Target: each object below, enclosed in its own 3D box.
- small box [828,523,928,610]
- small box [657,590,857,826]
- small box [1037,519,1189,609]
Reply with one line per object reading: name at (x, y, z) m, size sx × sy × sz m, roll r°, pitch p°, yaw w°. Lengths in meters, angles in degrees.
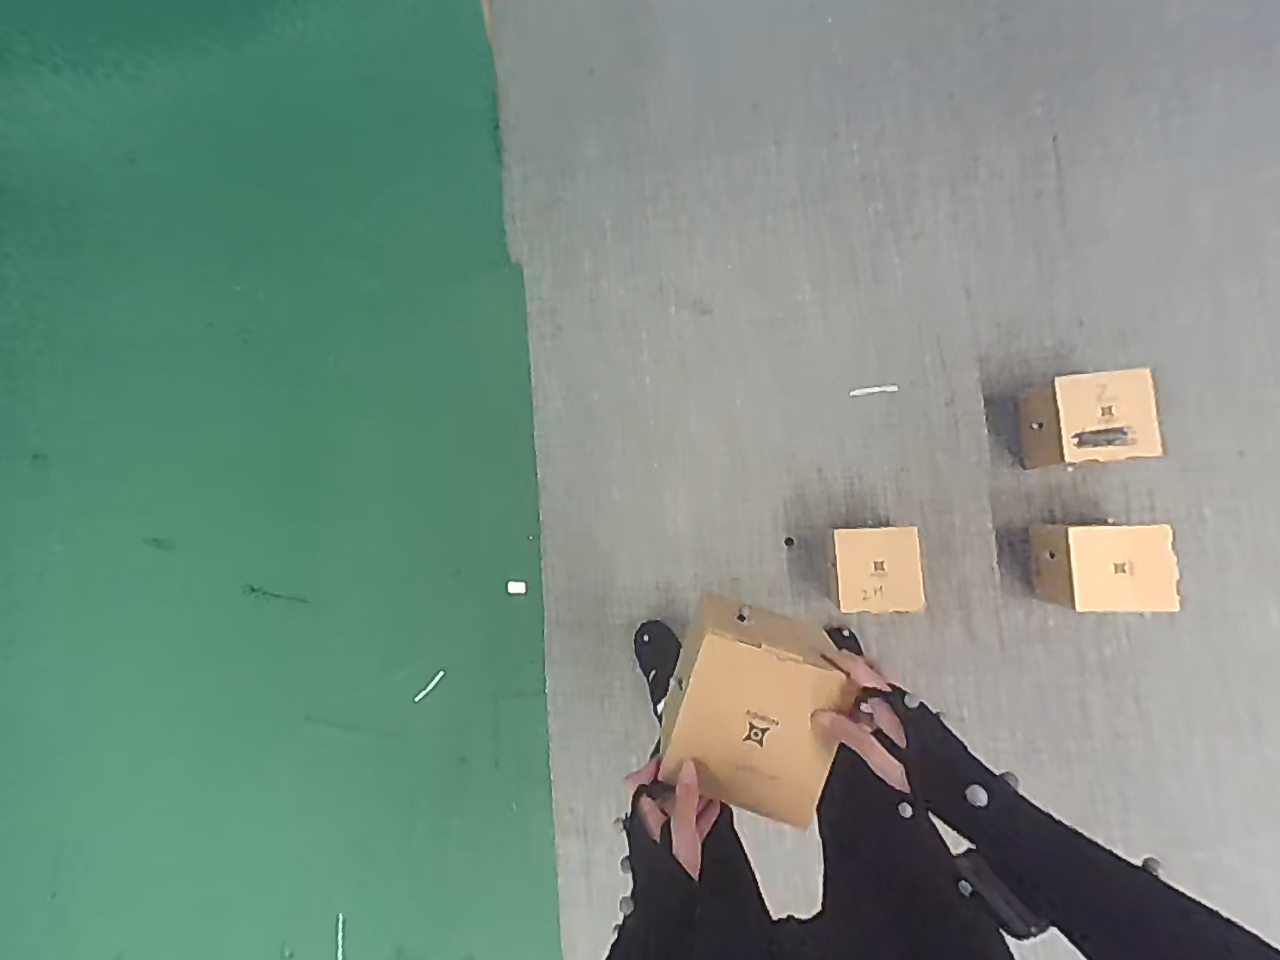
small box at (0.512, 0.185, 1.183) m, size 0.168 × 0.176 × 0.179 m, roll -4°, pitch 85°, yaw 12°
small box at (0.124, 0.247, 0.634) m, size 0.168 × 0.176 × 0.179 m, roll 17°, pitch 95°, yaw 4°
small box at (0.937, 0.166, 1.092) m, size 0.179 × 0.176 × 0.168 m, roll -4°, pitch 85°, yaw 12°
